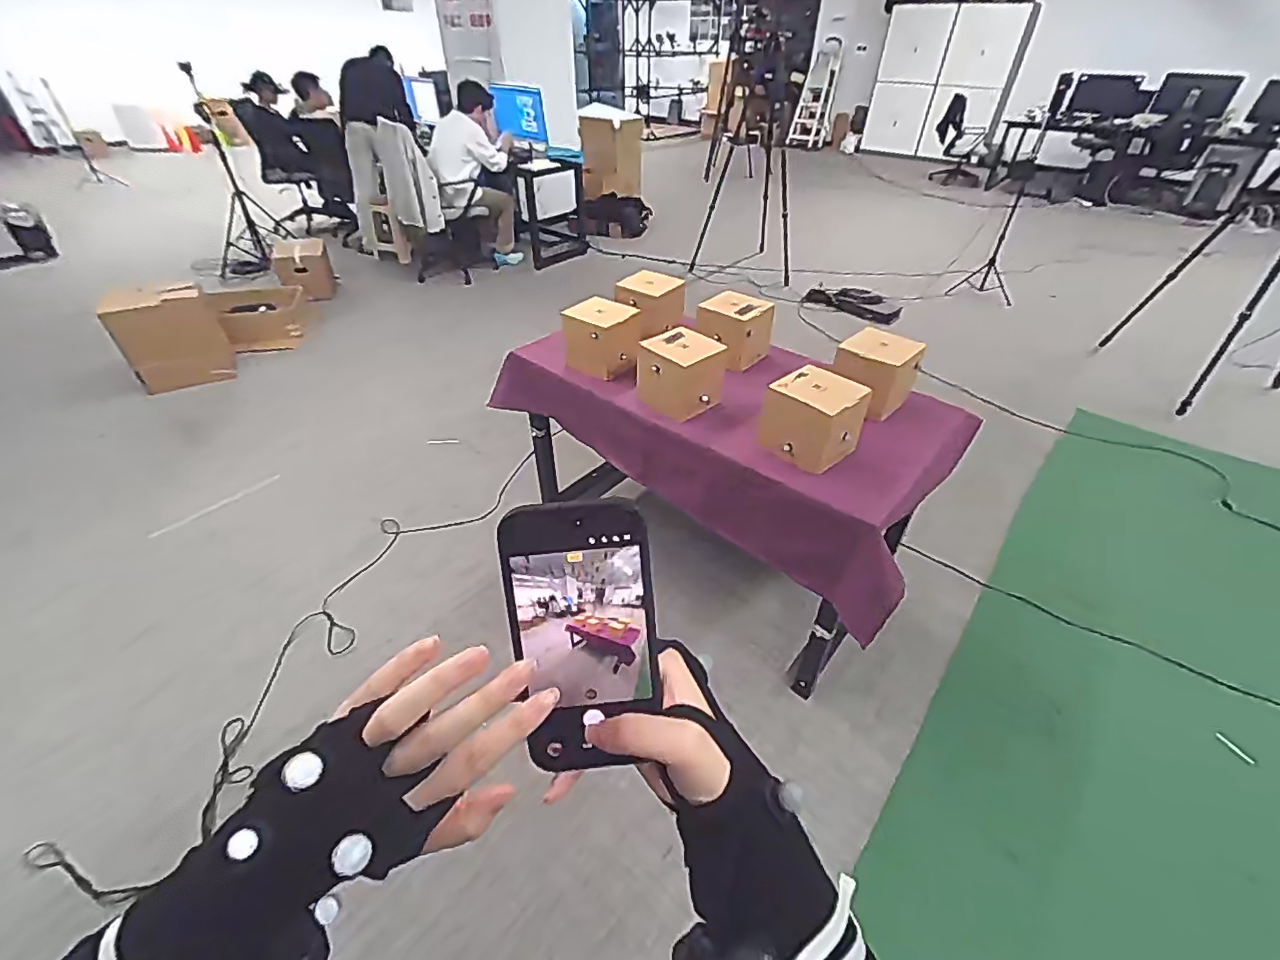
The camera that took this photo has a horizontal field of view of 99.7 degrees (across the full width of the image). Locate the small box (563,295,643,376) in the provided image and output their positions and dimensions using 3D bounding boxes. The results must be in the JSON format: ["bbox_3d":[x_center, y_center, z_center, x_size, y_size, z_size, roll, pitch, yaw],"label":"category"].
[{"bbox_3d":[-0.111,-0.432,1.621,0.179,0.176,0.168,26,45,25],"label":"small box"}]

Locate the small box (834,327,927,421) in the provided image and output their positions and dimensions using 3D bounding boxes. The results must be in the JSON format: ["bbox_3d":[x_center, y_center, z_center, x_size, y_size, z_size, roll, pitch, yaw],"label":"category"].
[{"bbox_3d":[0.633,-0.287,1.460,0.179,0.176,0.168,-33,50,-33],"label":"small box"}]

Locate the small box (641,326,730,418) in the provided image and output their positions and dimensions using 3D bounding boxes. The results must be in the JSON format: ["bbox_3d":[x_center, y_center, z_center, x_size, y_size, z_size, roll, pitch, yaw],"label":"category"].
[{"bbox_3d":[0.114,-0.290,1.454,0.168,0.176,0.179,-30,49,-32],"label":"small box"}]

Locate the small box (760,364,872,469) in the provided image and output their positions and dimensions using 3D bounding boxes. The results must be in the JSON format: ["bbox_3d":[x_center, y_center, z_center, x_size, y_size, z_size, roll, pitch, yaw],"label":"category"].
[{"bbox_3d":[0.412,-0.146,1.287,0.168,0.176,0.179,-29,48,-31],"label":"small box"}]
